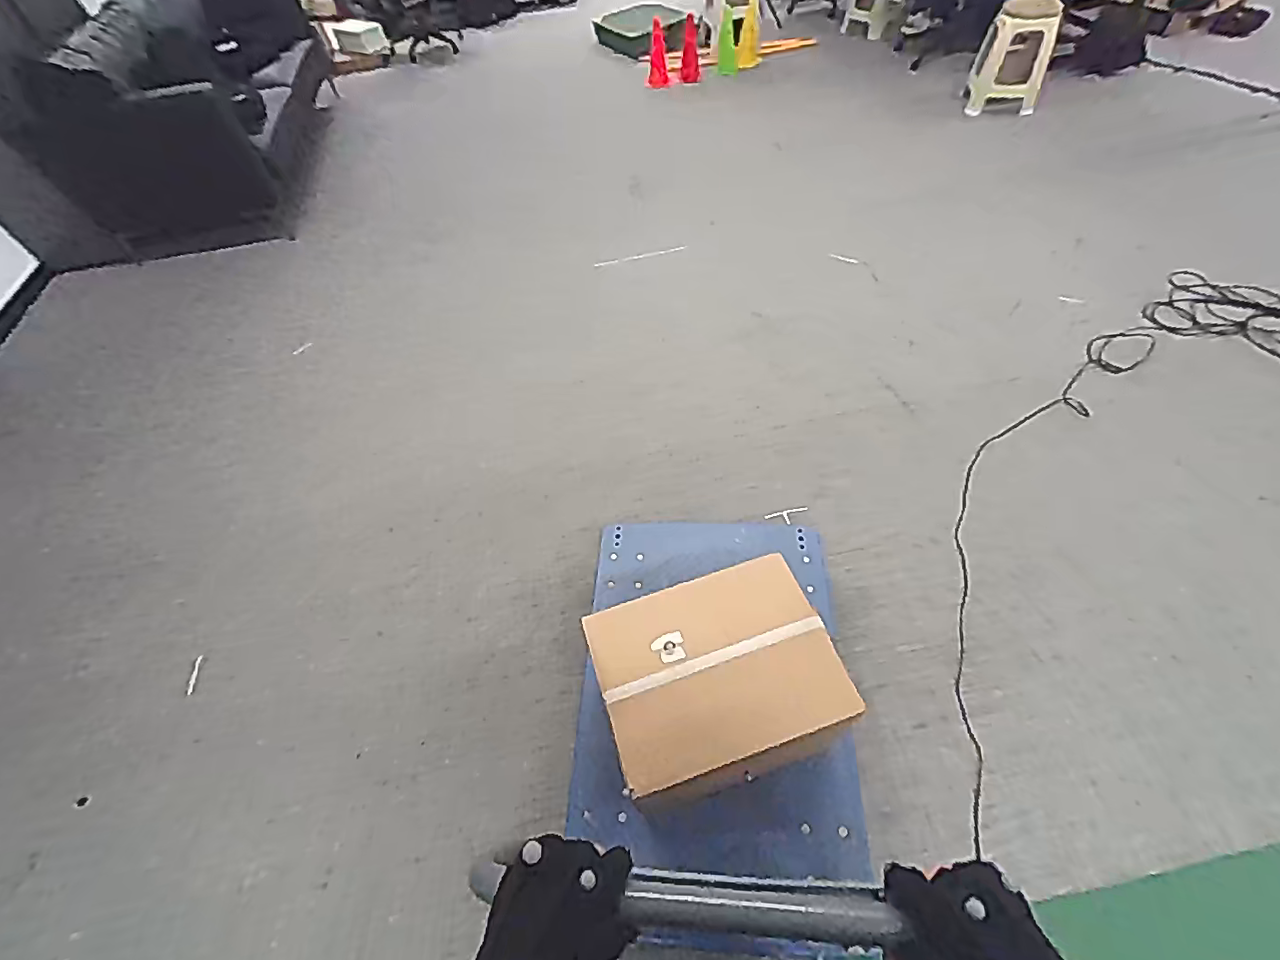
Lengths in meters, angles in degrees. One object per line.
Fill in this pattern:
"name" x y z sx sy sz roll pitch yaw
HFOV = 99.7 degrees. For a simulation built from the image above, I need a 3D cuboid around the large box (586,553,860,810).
"large box" 0.146 0.403 1.069 0.408 0.320 0.320 -18 54 -6
